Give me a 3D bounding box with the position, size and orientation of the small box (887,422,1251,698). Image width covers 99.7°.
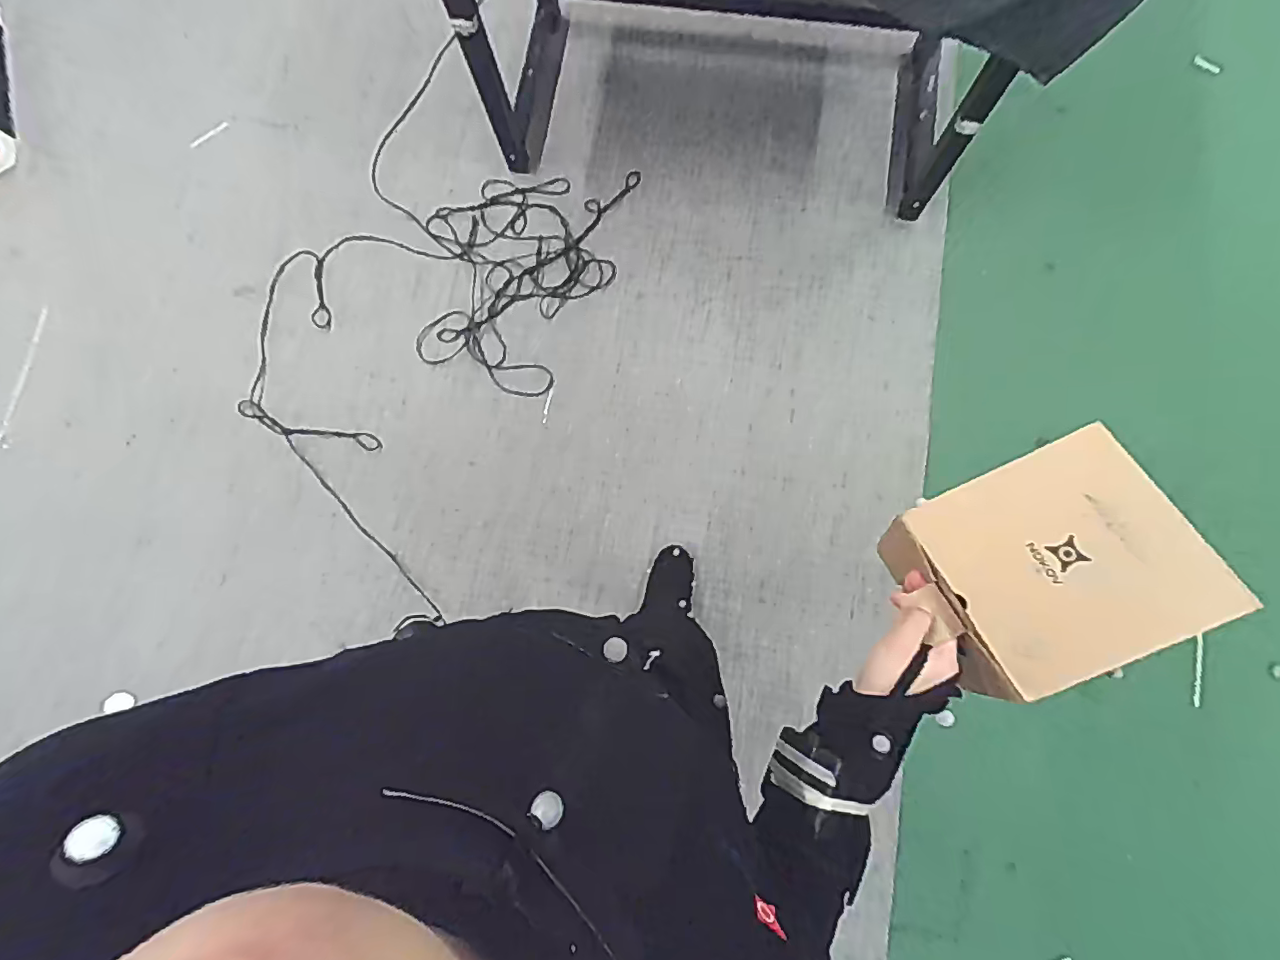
[{"bbox_3d":[0.349,0.081,0.494,0.179,0.176,0.168,-27,68,6],"label":"small box"}]
